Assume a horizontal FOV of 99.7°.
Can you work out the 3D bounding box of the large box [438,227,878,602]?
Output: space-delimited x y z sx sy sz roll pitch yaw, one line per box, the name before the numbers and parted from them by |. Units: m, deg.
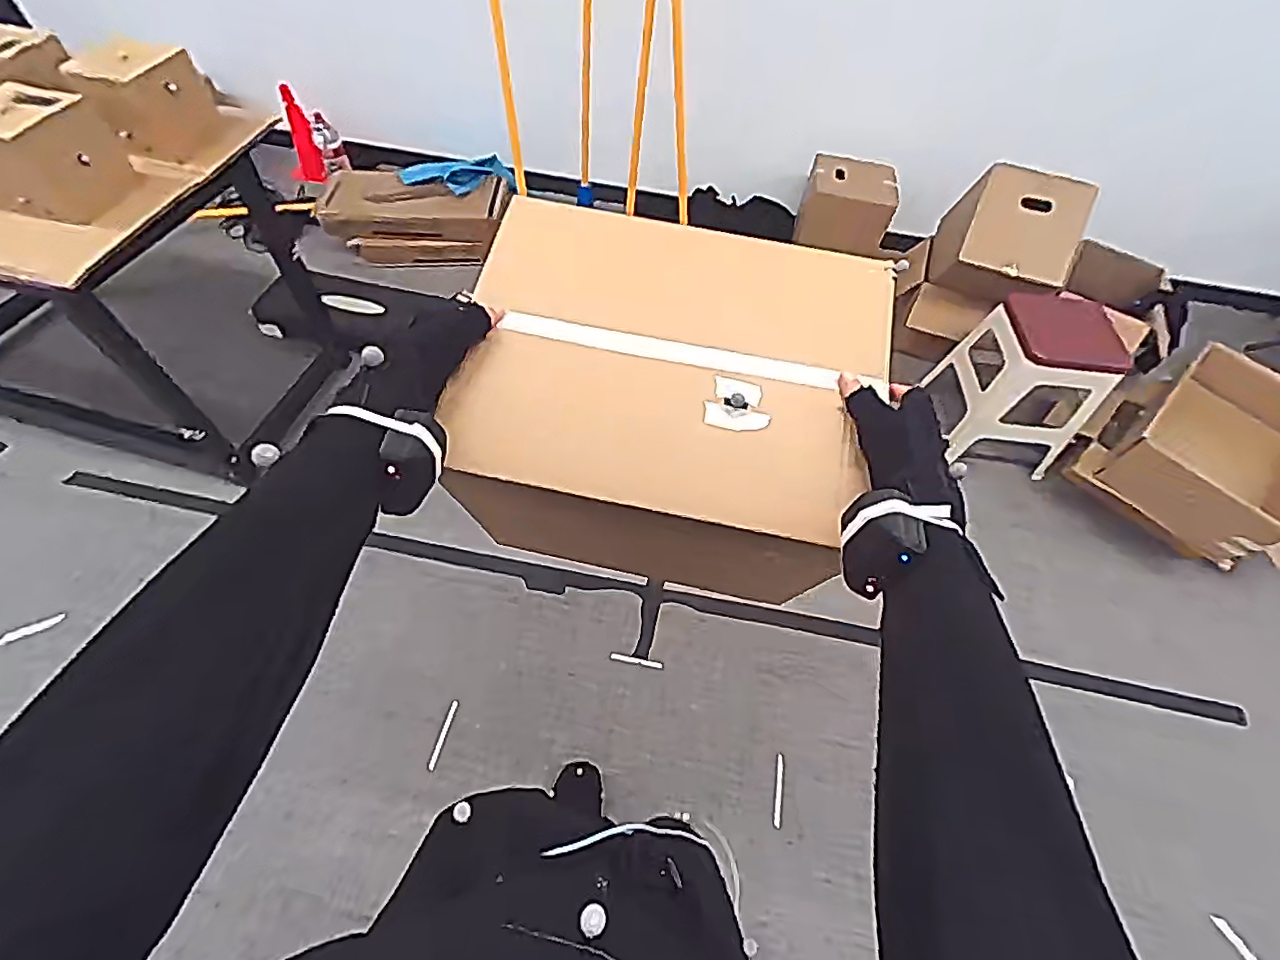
large box | 0.027 -0.053 0.678 0.408 0.320 0.320 12 71 2
